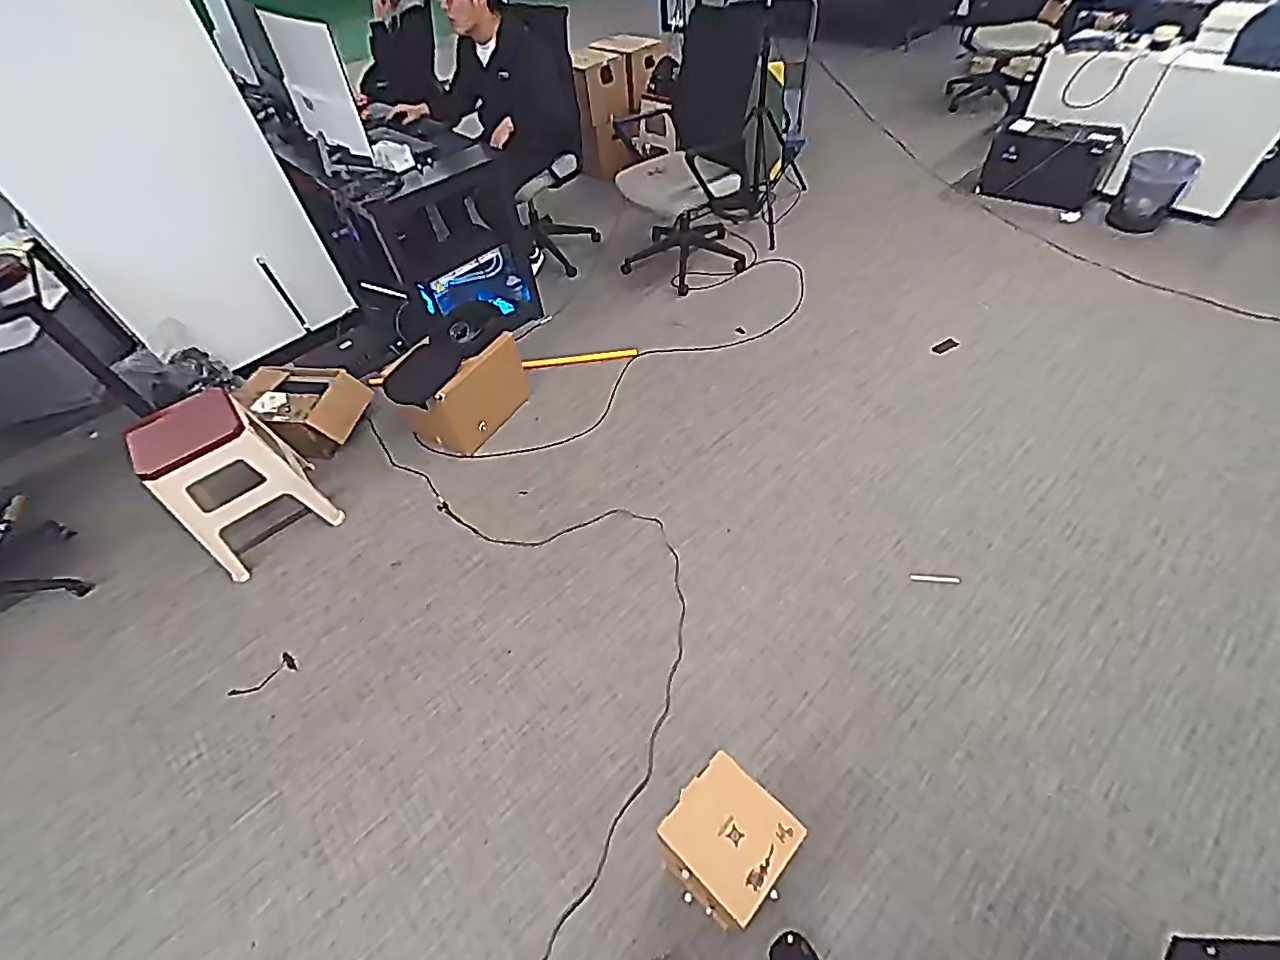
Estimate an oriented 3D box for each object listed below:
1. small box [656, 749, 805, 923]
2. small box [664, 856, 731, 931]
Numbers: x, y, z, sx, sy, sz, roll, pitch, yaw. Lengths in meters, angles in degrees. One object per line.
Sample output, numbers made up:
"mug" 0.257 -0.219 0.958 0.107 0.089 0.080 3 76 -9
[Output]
"small box" 0.146 0.597 0.904 0.179 0.176 0.168 35 62 29
"small box" 0.169 0.807 1.152 0.168 0.176 0.179 35 63 30
